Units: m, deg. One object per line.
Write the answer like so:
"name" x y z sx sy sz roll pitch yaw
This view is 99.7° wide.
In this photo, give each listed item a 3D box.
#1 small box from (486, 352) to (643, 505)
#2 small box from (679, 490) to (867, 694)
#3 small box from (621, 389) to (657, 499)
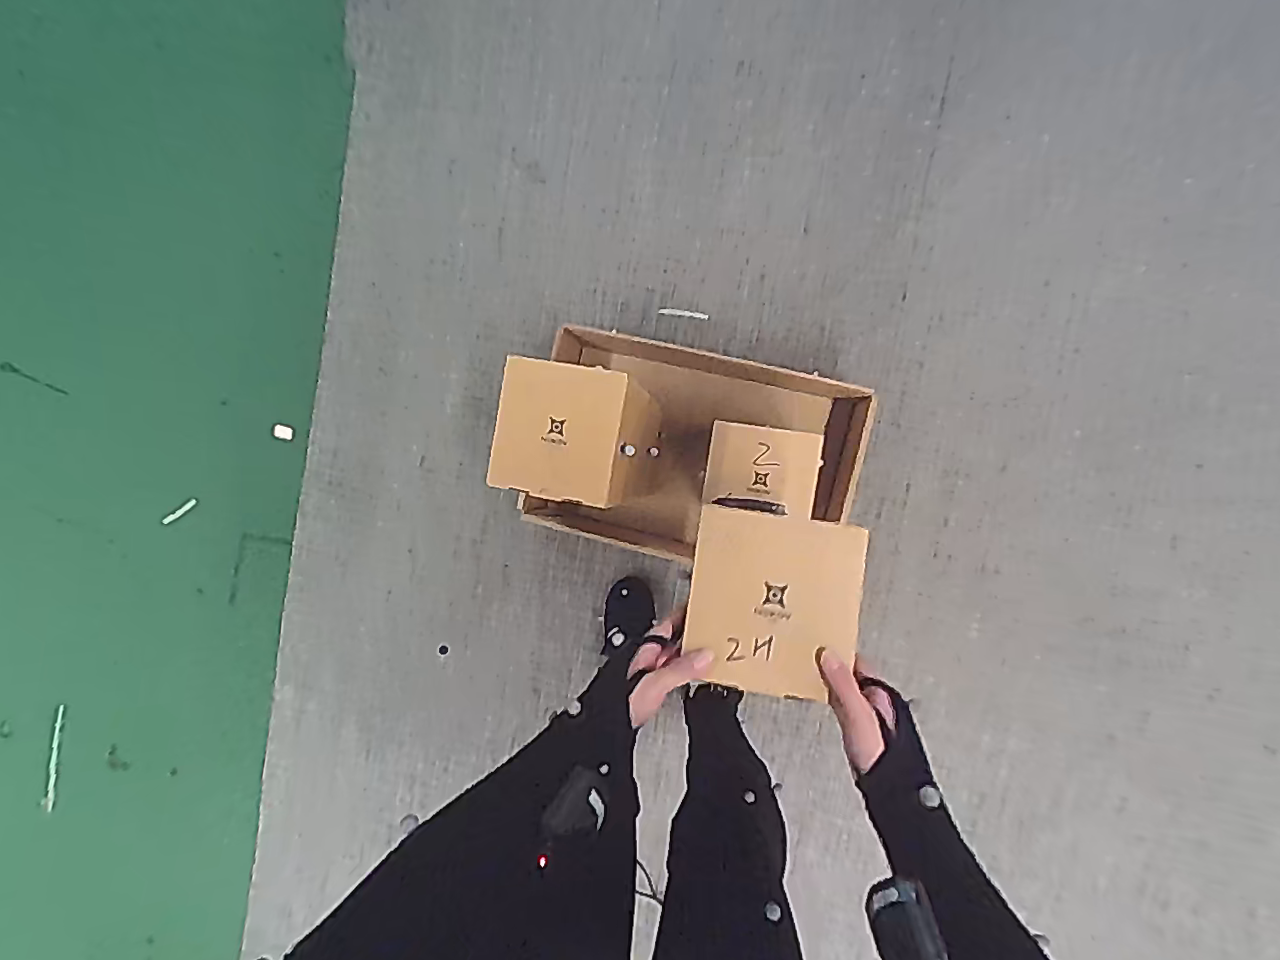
"small box" -0.096 -0.069 0.771 0.168 0.176 0.179 10 93 9
"small box" 0.139 0.116 0.608 0.168 0.176 0.179 8 85 8
"small box" -0.071 -0.069 0.931 0.168 0.176 0.179 12 91 10
